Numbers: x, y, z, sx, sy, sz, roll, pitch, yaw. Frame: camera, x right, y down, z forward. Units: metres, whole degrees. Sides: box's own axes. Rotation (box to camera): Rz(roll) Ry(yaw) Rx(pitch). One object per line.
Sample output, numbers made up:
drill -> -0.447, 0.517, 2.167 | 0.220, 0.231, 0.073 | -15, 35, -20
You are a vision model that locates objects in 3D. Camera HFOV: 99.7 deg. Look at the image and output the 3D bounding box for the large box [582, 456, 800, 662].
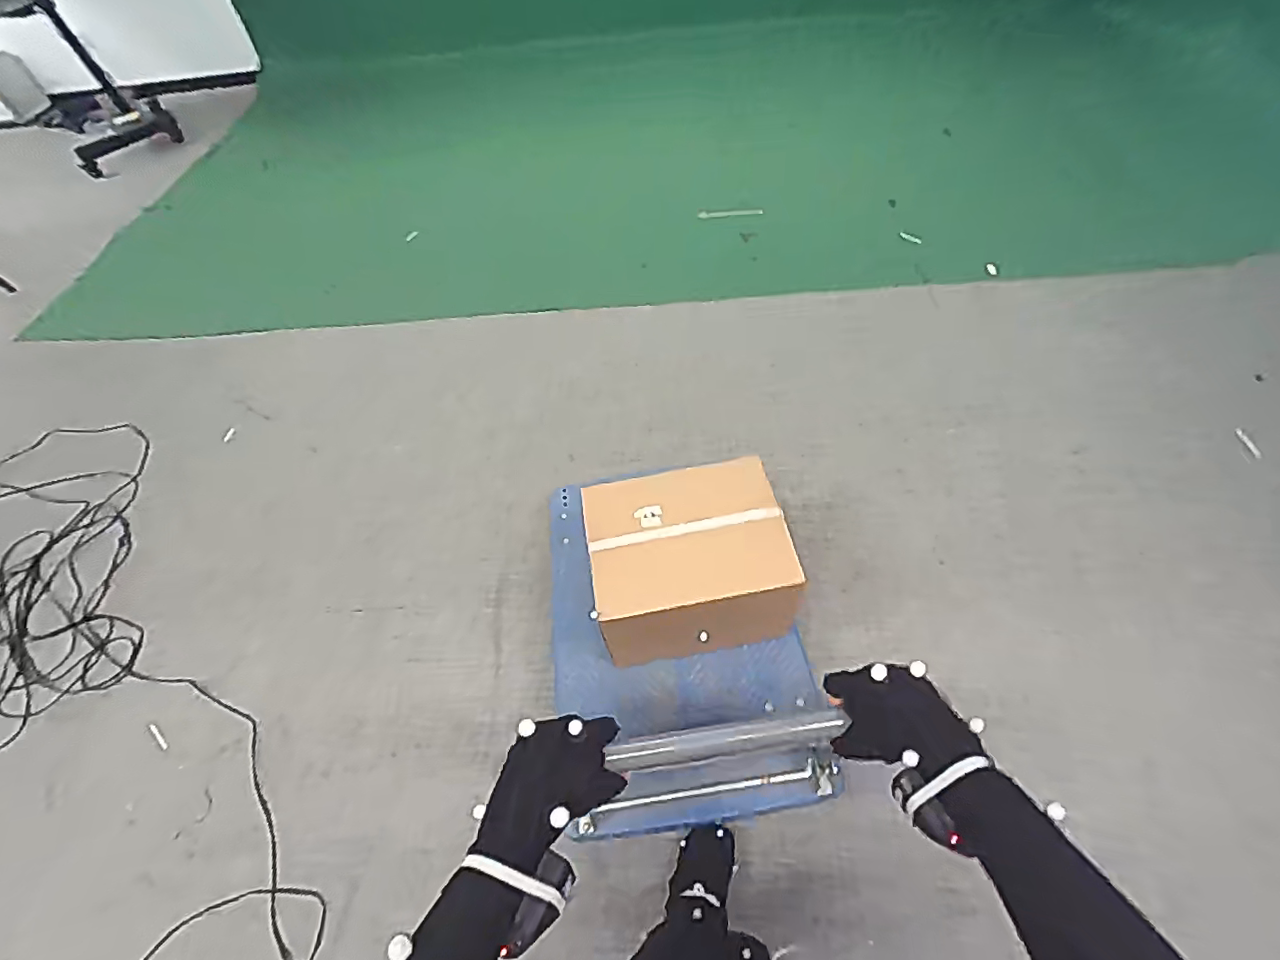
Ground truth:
large box -> 0.106, 0.190, 1.244 | 0.408, 0.320, 0.320 | -12, 54, -1
